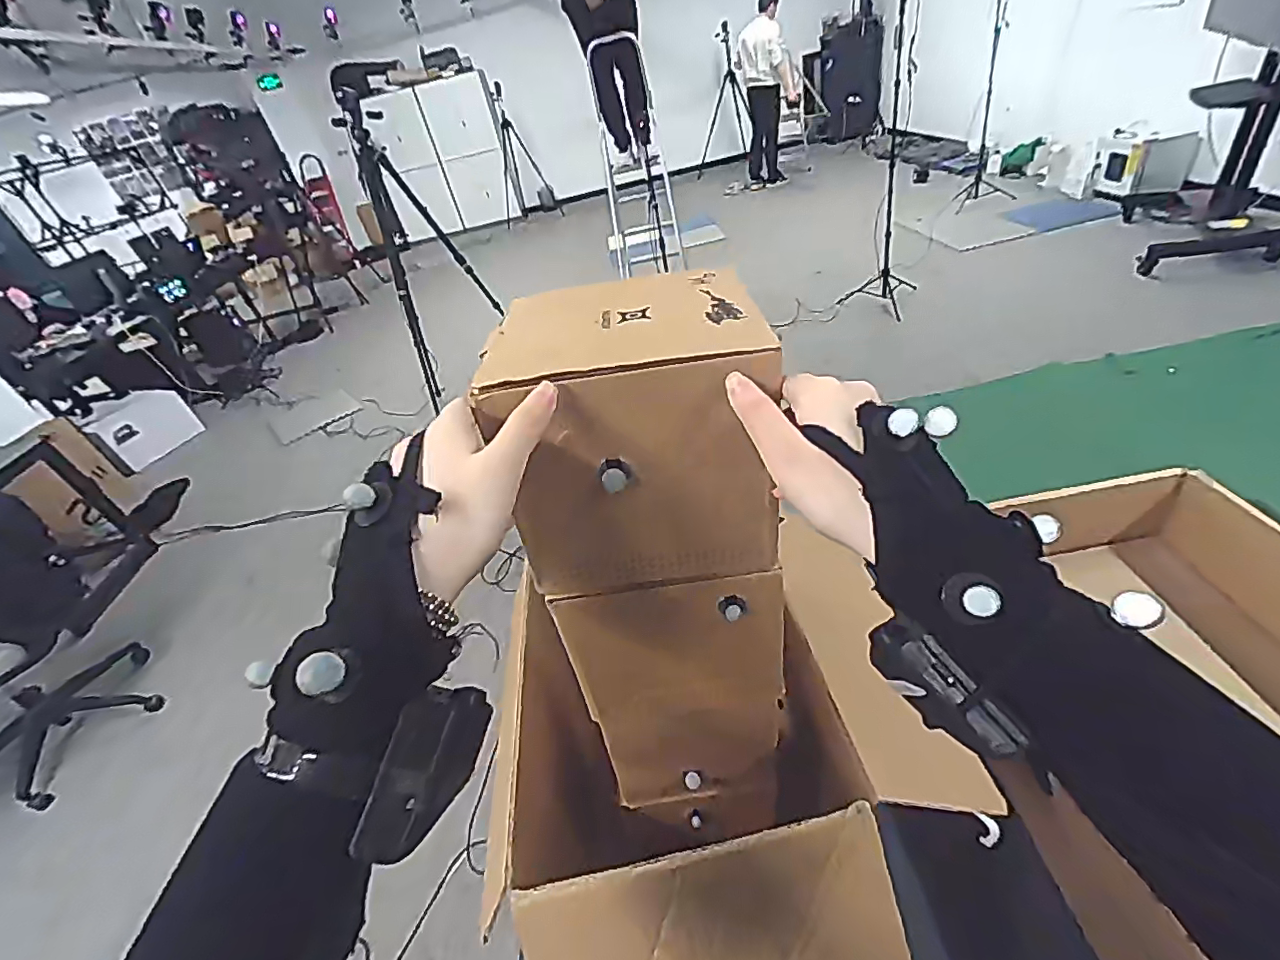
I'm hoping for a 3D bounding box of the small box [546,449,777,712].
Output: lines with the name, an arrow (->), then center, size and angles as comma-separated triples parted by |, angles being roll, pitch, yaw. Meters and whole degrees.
small box -> 0.023, 0.094, 0.505 | 0.179, 0.176, 0.168 | -8, 37, 1
